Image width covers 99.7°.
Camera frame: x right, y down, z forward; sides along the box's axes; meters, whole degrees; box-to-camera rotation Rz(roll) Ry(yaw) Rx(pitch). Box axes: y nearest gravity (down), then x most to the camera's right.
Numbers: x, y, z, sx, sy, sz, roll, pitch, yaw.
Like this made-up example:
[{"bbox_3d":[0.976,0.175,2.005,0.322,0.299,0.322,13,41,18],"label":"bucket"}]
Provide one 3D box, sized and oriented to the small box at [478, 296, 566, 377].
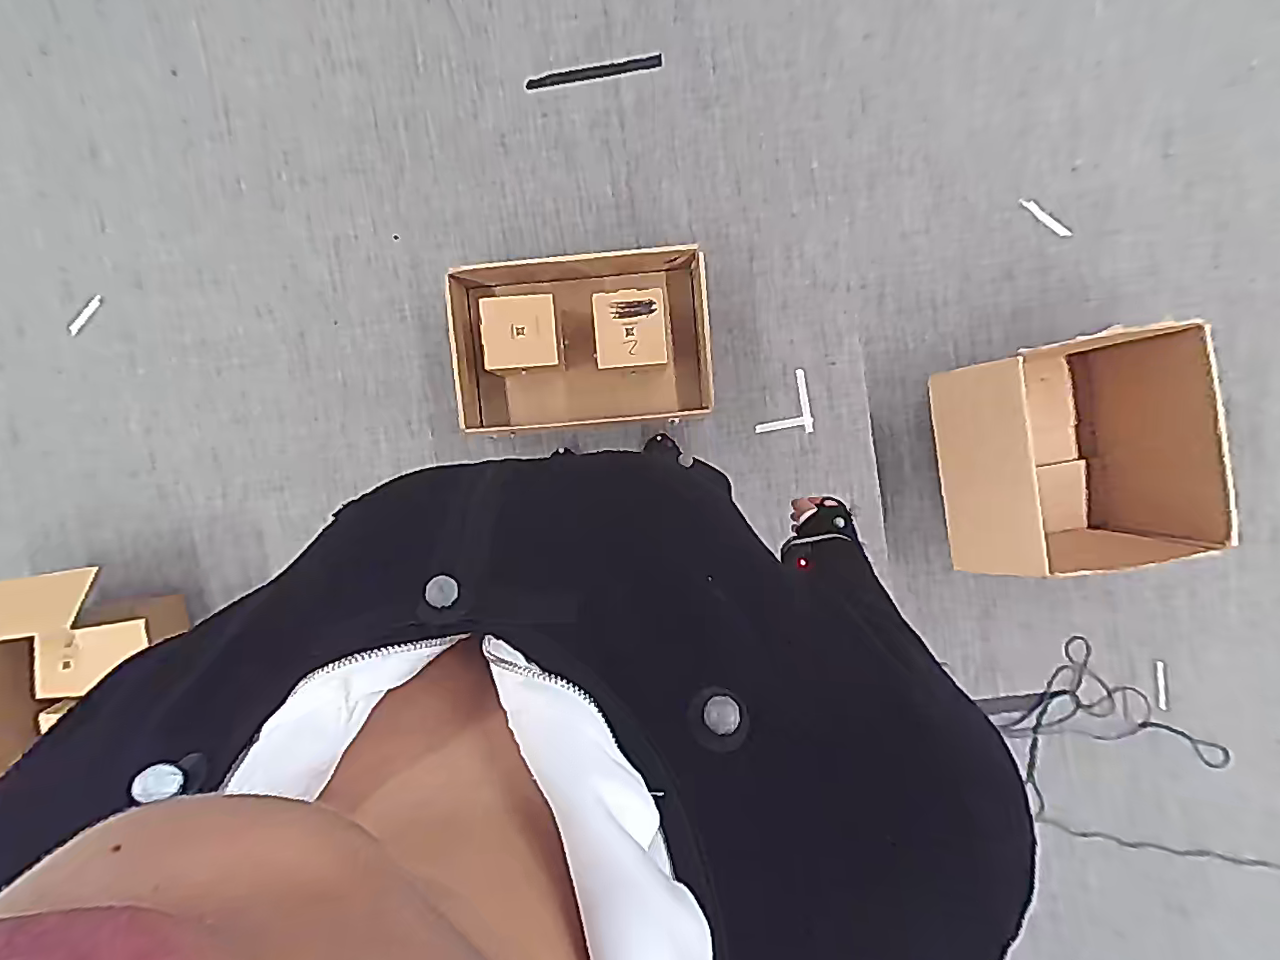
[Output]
[{"bbox_3d":[-0.288,-0.352,1.351,0.179,0.176,0.168,-5,96,-1],"label":"small box"}]
